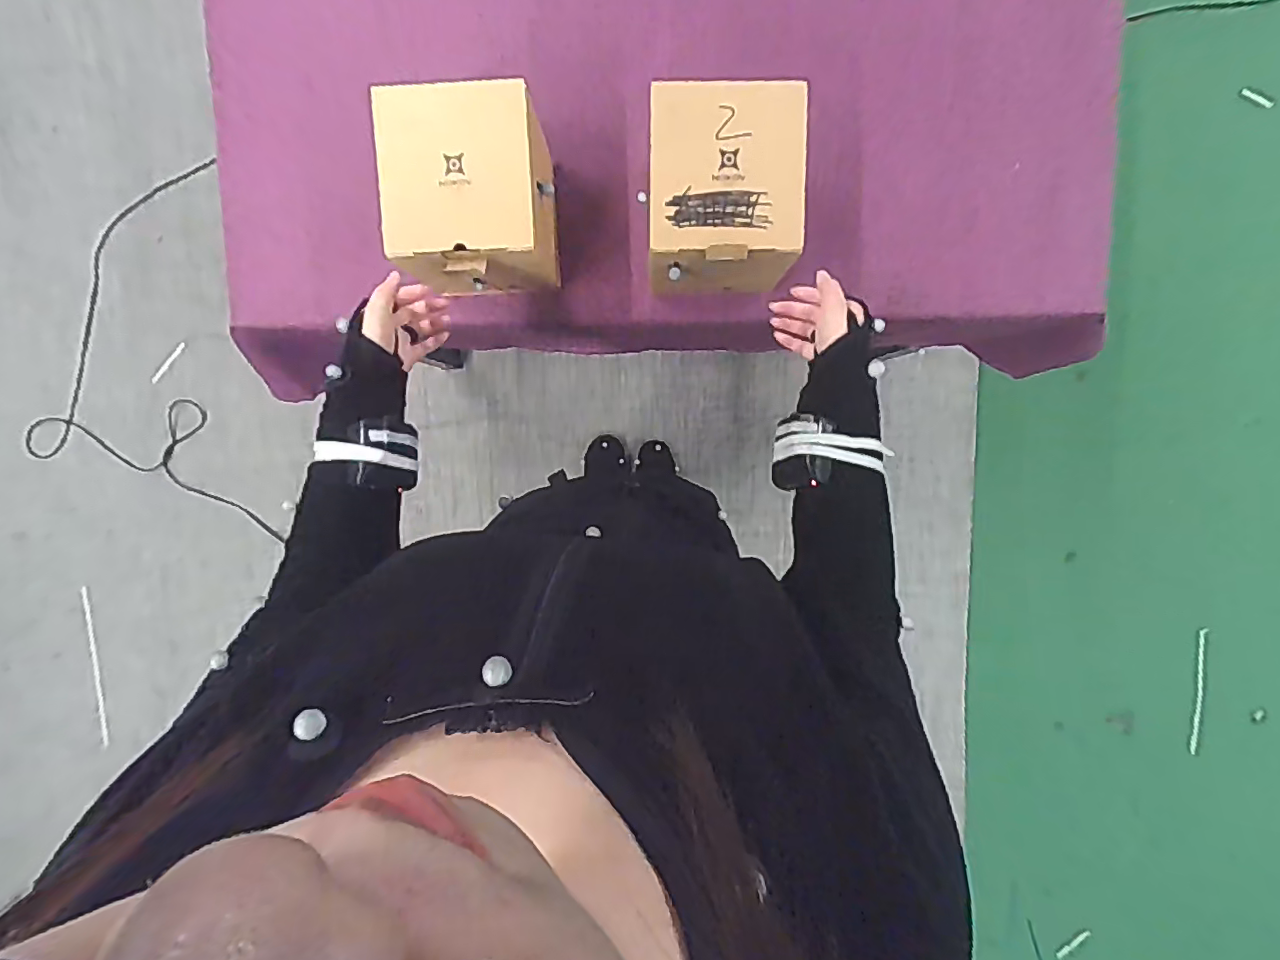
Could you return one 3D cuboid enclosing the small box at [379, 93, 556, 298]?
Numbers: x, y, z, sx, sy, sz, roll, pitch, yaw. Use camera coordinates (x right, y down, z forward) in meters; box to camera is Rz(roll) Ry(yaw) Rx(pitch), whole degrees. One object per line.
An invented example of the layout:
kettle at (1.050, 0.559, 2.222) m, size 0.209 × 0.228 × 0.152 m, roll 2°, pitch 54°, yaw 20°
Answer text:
small box at (-0.201, -0.339, 0.674) m, size 0.168 × 0.176 × 0.179 m, roll -2°, pitch 95°, yaw 1°
